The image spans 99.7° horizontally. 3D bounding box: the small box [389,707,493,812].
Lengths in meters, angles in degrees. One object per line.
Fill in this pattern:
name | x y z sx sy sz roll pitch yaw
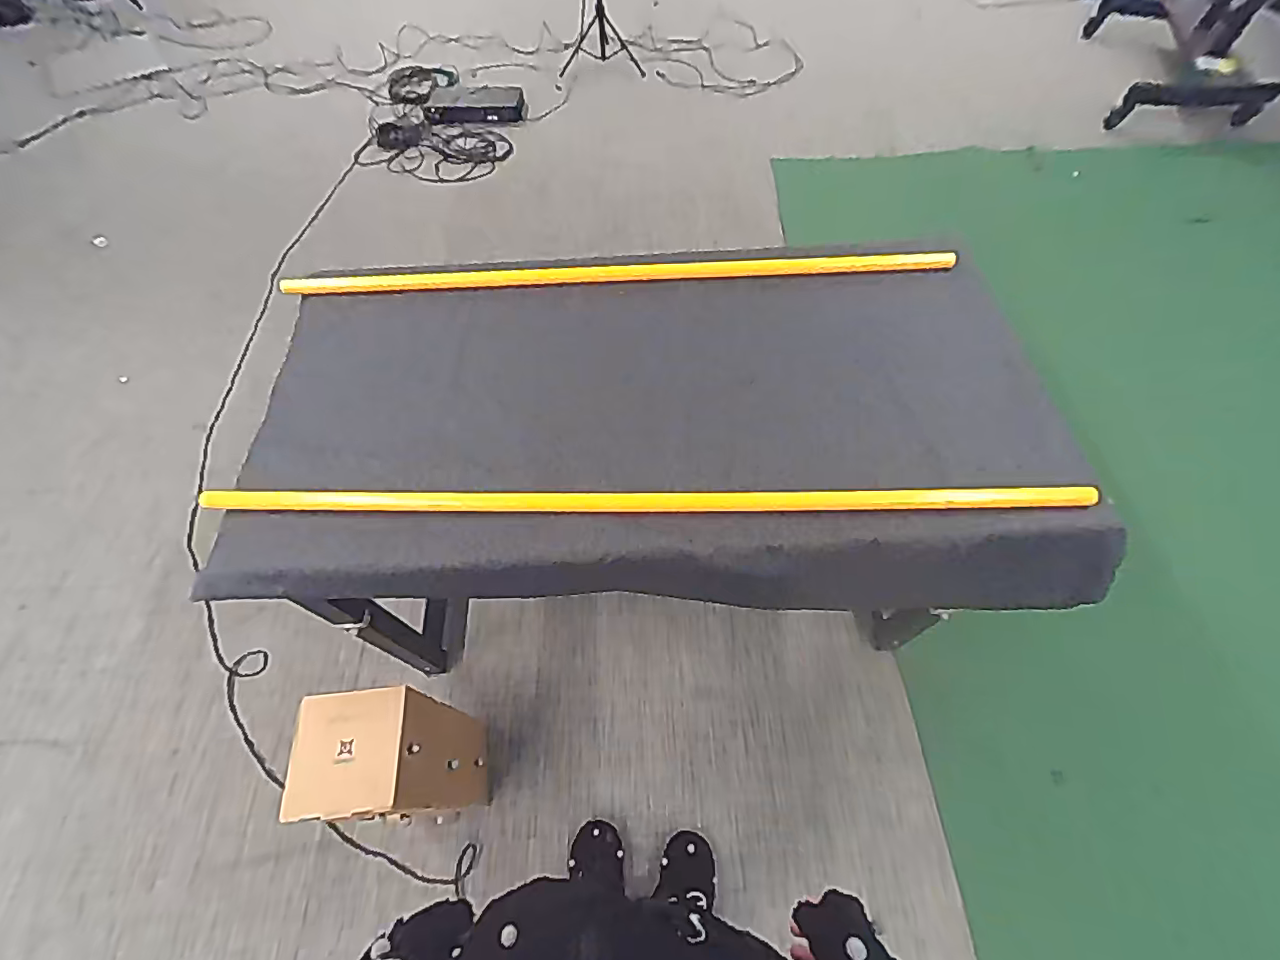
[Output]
small box | -0.425 0.610 1.177 0.168 0.176 0.179 -9 60 -3
